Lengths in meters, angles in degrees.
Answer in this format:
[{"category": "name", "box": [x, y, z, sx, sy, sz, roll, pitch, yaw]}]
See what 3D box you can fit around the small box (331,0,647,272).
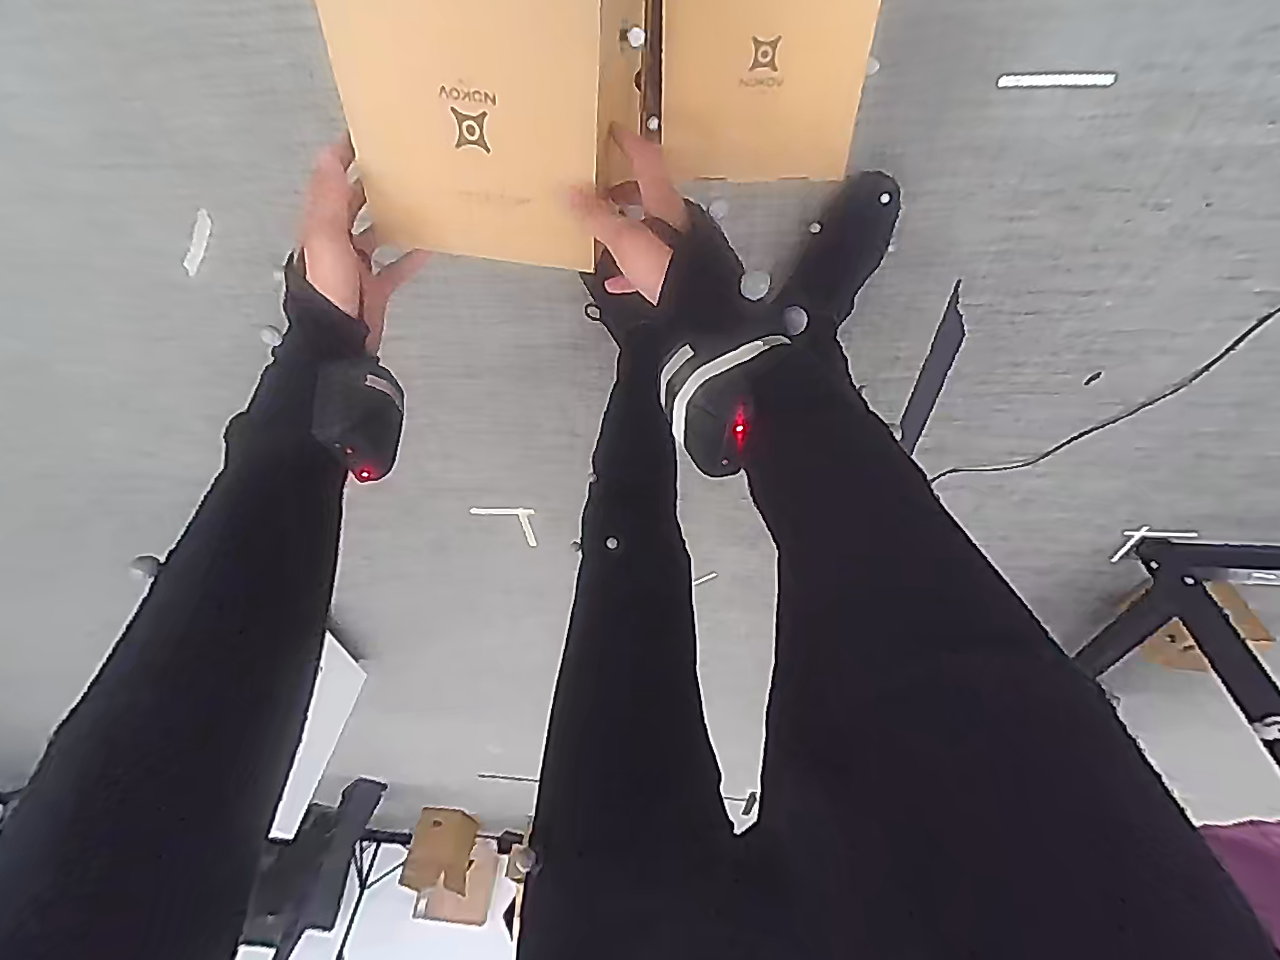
[{"category": "small box", "box": [-0.090, -0.281, 0.393, 0.168, 0.176, 0.179, 9, 136, 1]}]
